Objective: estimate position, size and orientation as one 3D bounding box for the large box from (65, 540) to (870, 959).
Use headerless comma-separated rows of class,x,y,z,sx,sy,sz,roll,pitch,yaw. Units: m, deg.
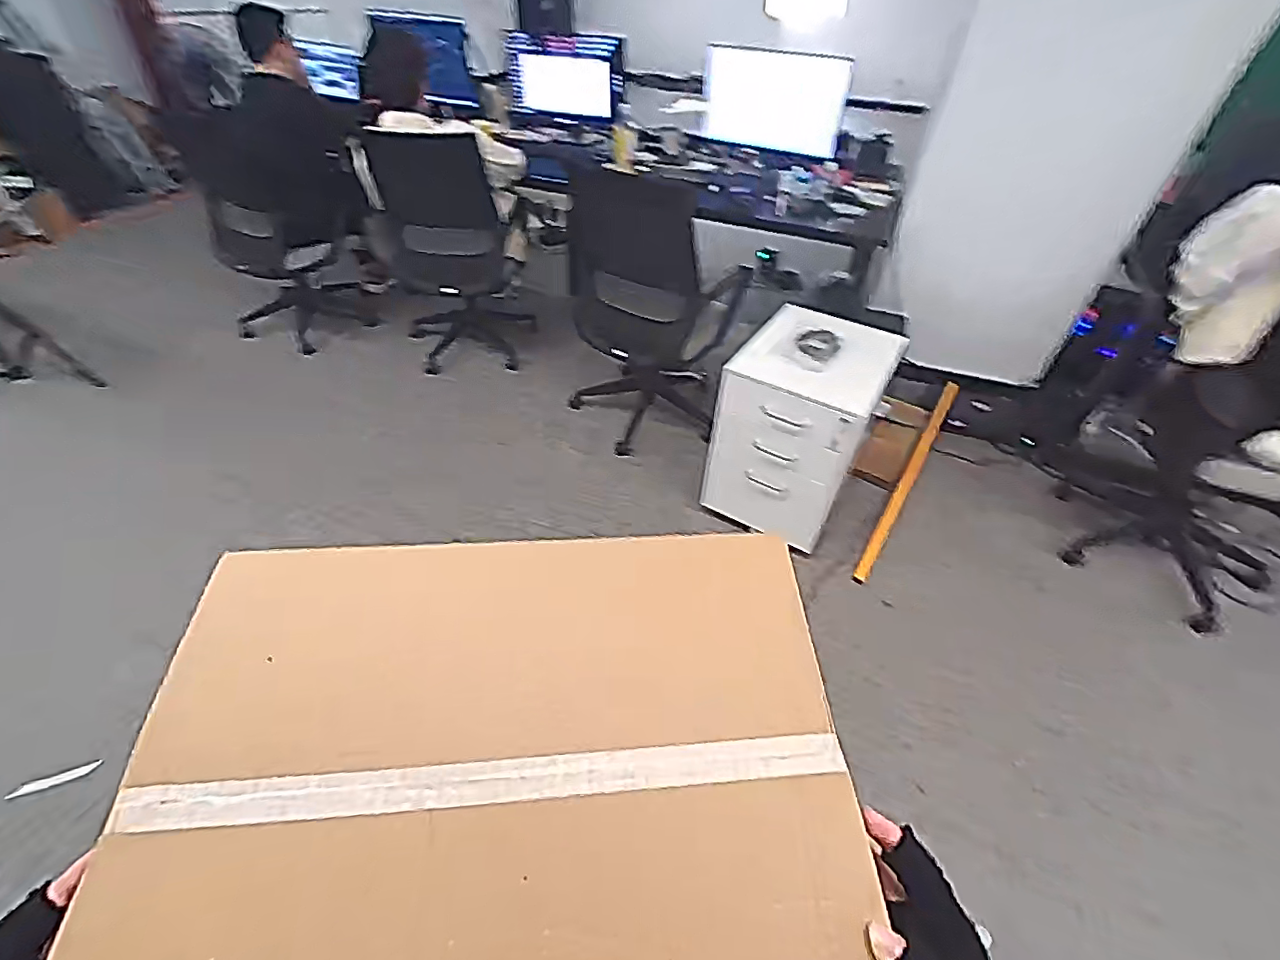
large box,-0.093,0.267,0.437,0.408,0.320,0.320,-2,53,-6
